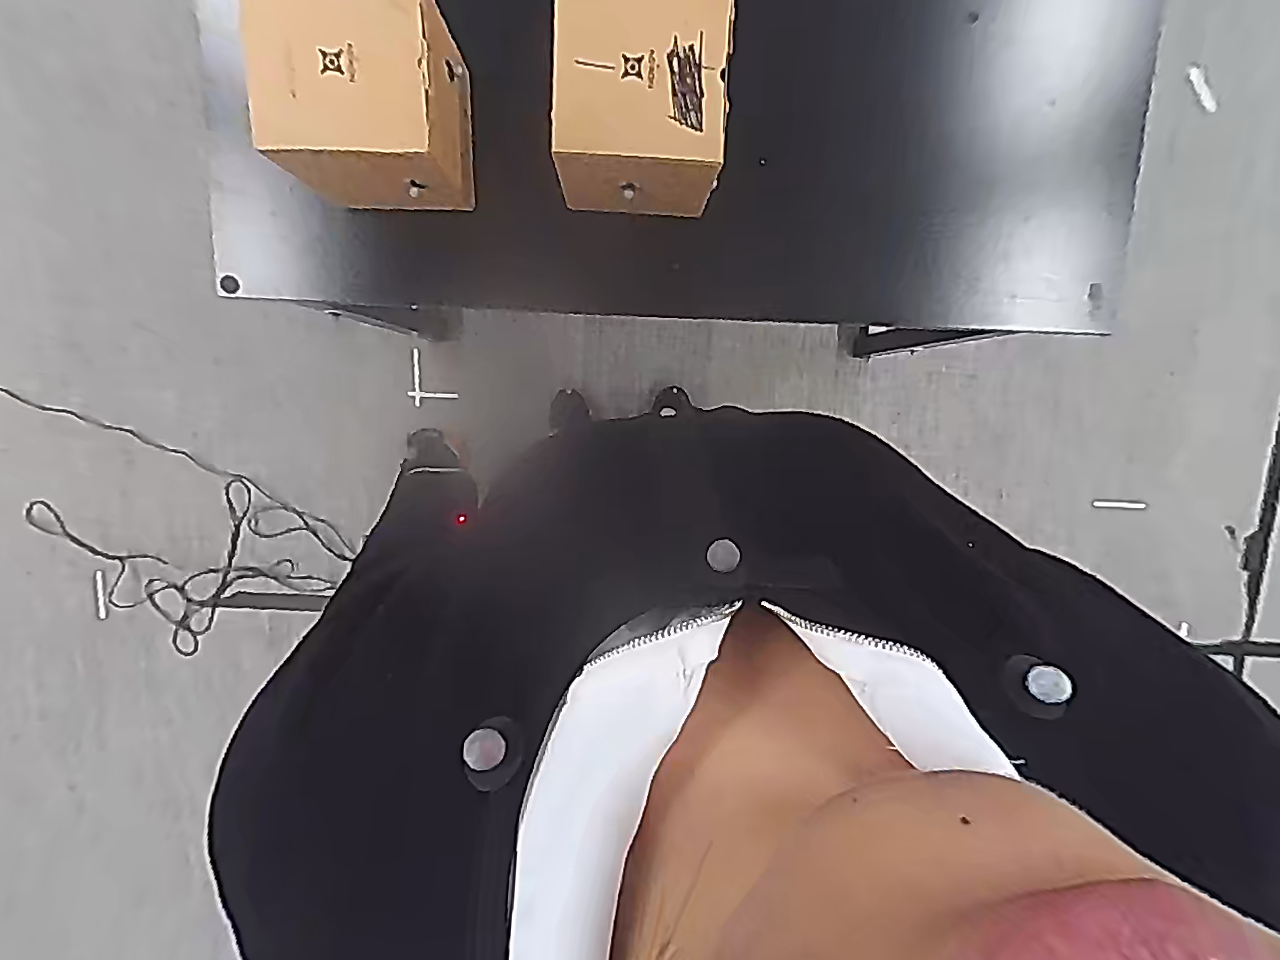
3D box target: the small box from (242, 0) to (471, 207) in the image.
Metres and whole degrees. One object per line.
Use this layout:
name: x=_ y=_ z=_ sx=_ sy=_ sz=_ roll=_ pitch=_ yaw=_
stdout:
small box: x=-0.296 y=-0.422 z=0.606 sx=0.179 sy=0.176 sz=0.168 roll=-1 pitch=98 yaw=-1

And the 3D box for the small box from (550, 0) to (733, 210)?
small box: x=-0.002 y=-0.422 z=0.614 sx=0.179 sy=0.176 sz=0.168 roll=3 pitch=99 yaw=-1
